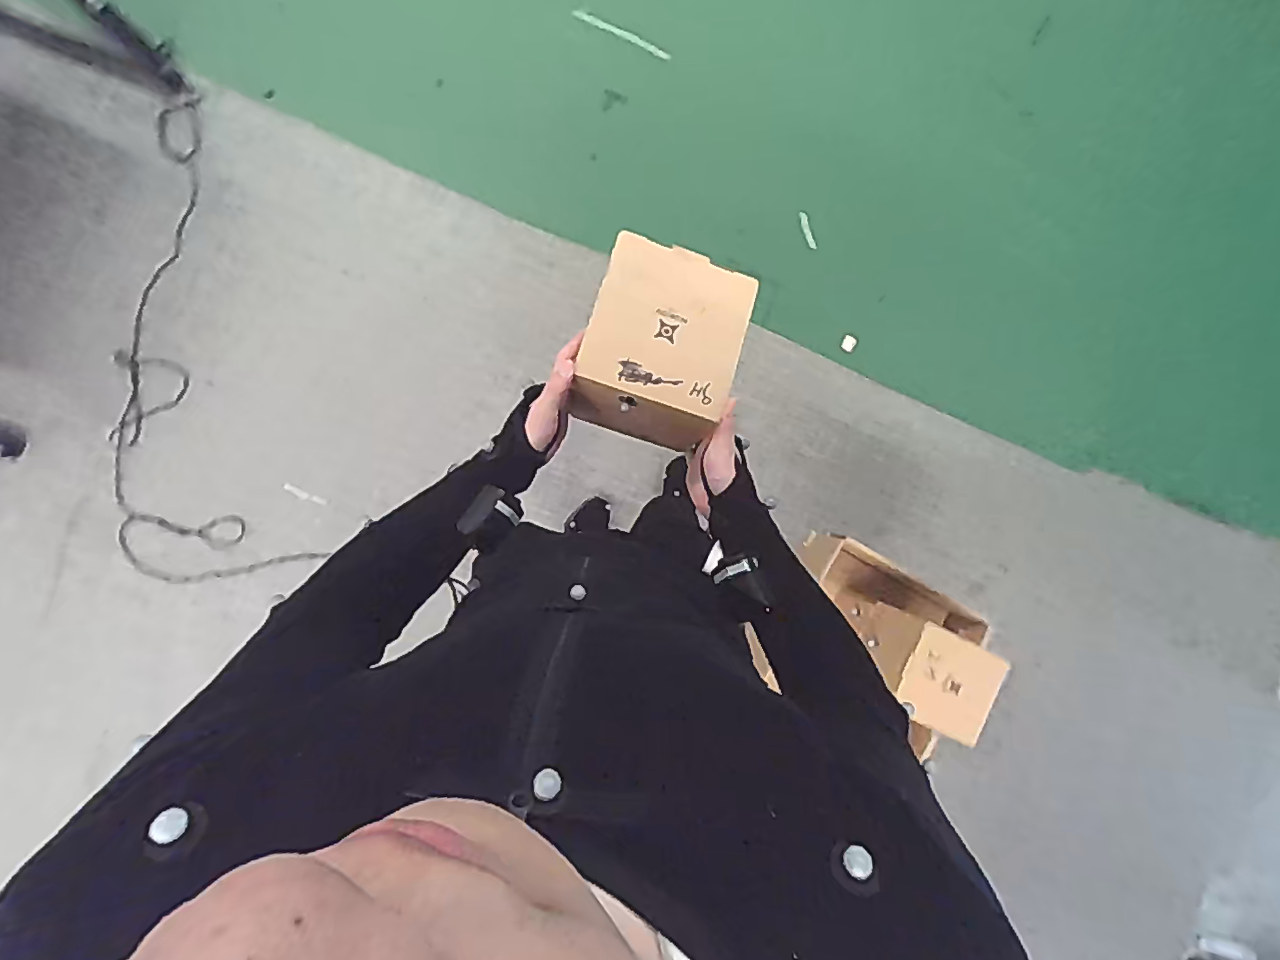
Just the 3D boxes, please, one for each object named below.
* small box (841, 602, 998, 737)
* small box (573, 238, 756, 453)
[{"bbox_3d":[0.532,0.355,1.051,0.179,0.176,0.168,27,88,-5],"label":"small box"},{"bbox_3d":[0.019,-0.150,0.663,0.168,0.176,0.179,17,80,-7],"label":"small box"}]
